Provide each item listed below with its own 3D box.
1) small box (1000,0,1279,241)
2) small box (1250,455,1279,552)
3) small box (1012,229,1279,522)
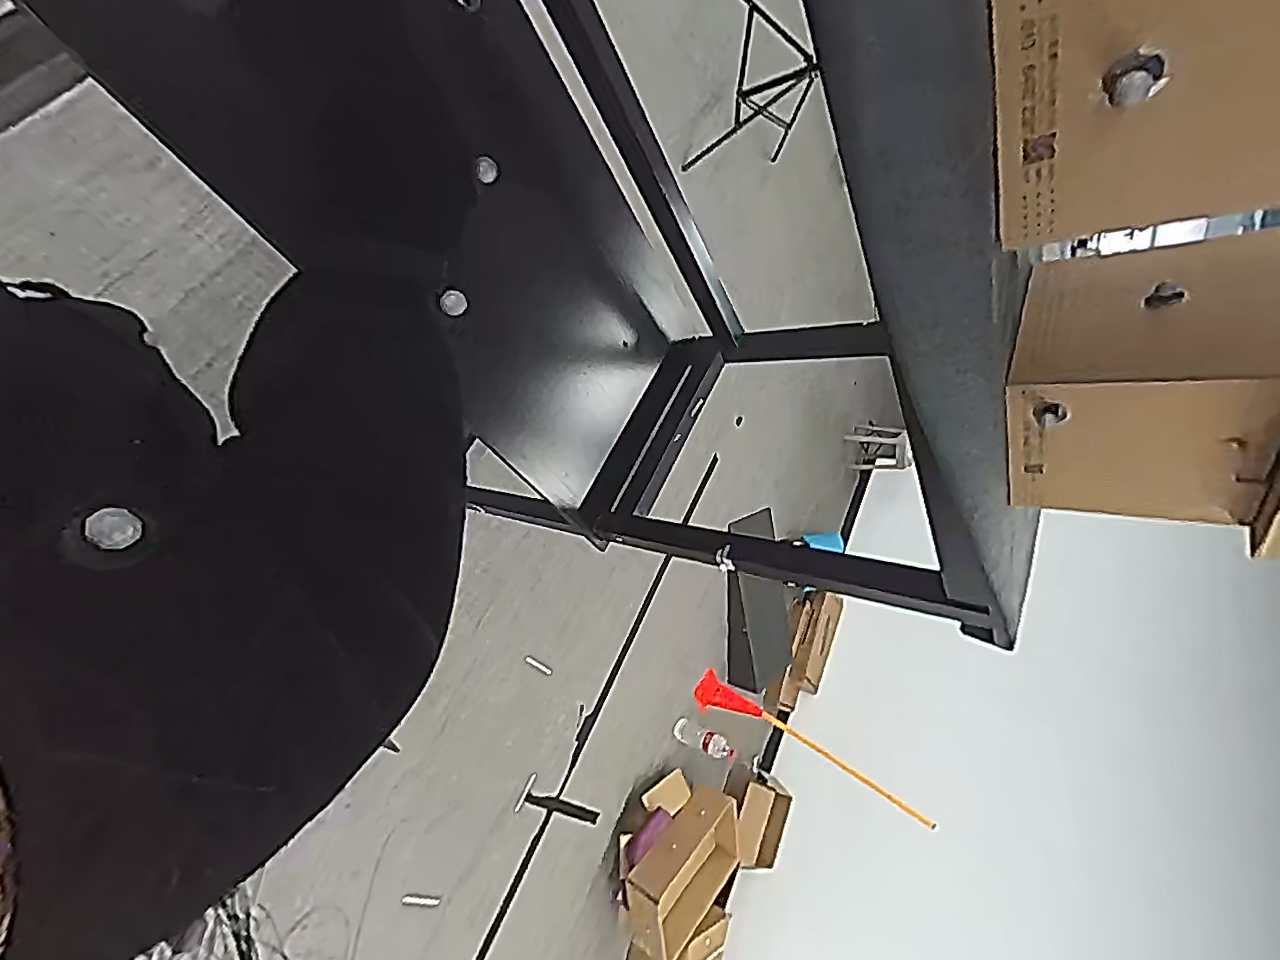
[{"bbox_3d":[0.299,-0.258,0.283,0.168,0.176,0.179,52,55,-40],"label":"small box"},{"bbox_3d":[0.552,-0.047,0.367,0.168,0.176,0.179,49,58,-43],"label":"small box"},{"bbox_3d":[0.441,-0.086,0.482,0.168,0.176,0.179,55,53,-39],"label":"small box"}]
